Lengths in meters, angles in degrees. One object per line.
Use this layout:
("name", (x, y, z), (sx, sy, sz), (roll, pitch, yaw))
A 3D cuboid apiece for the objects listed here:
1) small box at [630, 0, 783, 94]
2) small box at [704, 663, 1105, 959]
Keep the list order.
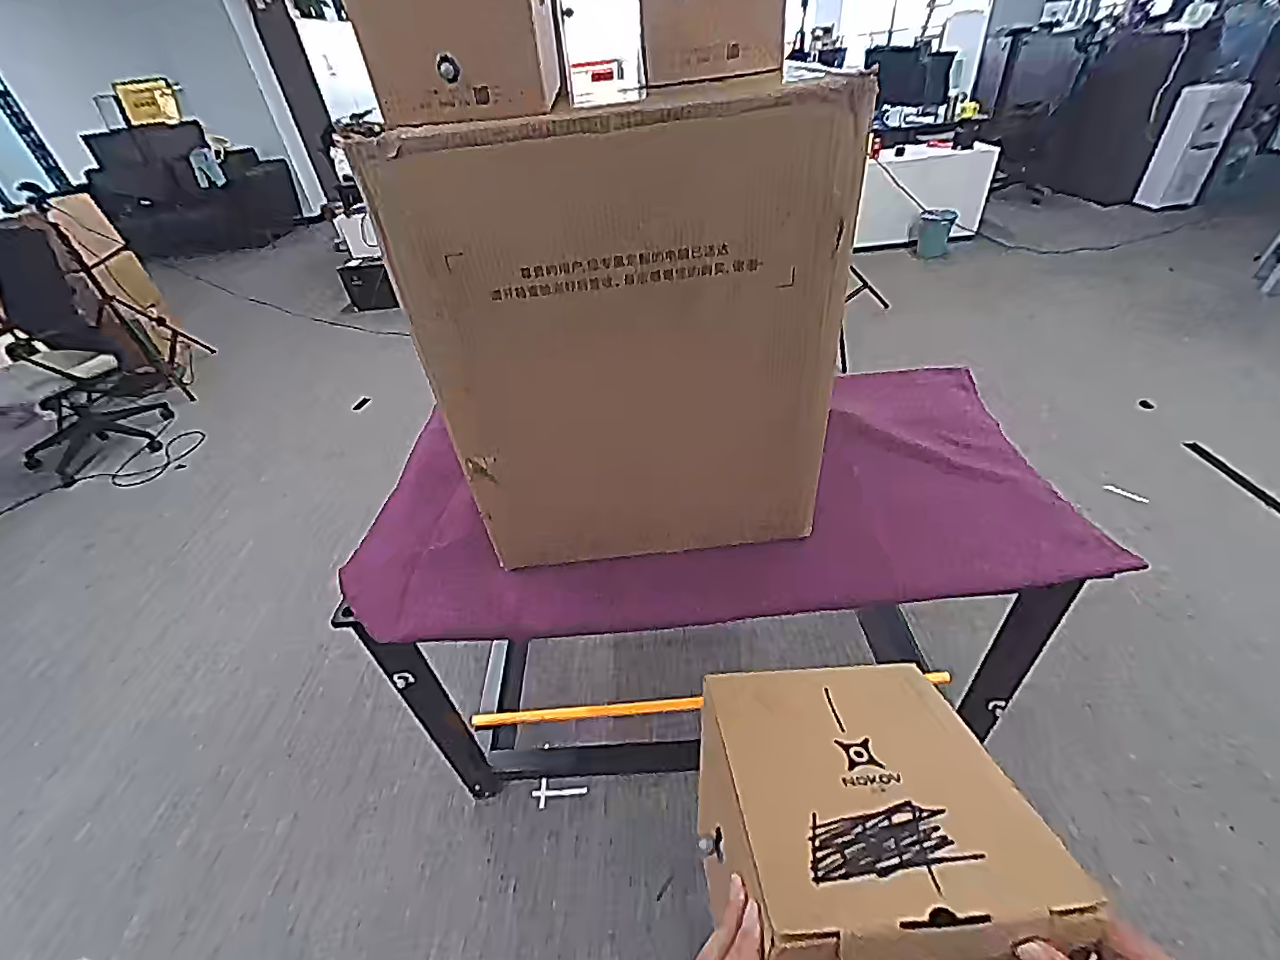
("small box", (0.075, -0.585, 0.661), (0.168, 0.176, 0.179), (-8, 38, 1))
("small box", (0.137, 0.250, 0.357), (0.168, 0.176, 0.179), (-2, 21, -3))
